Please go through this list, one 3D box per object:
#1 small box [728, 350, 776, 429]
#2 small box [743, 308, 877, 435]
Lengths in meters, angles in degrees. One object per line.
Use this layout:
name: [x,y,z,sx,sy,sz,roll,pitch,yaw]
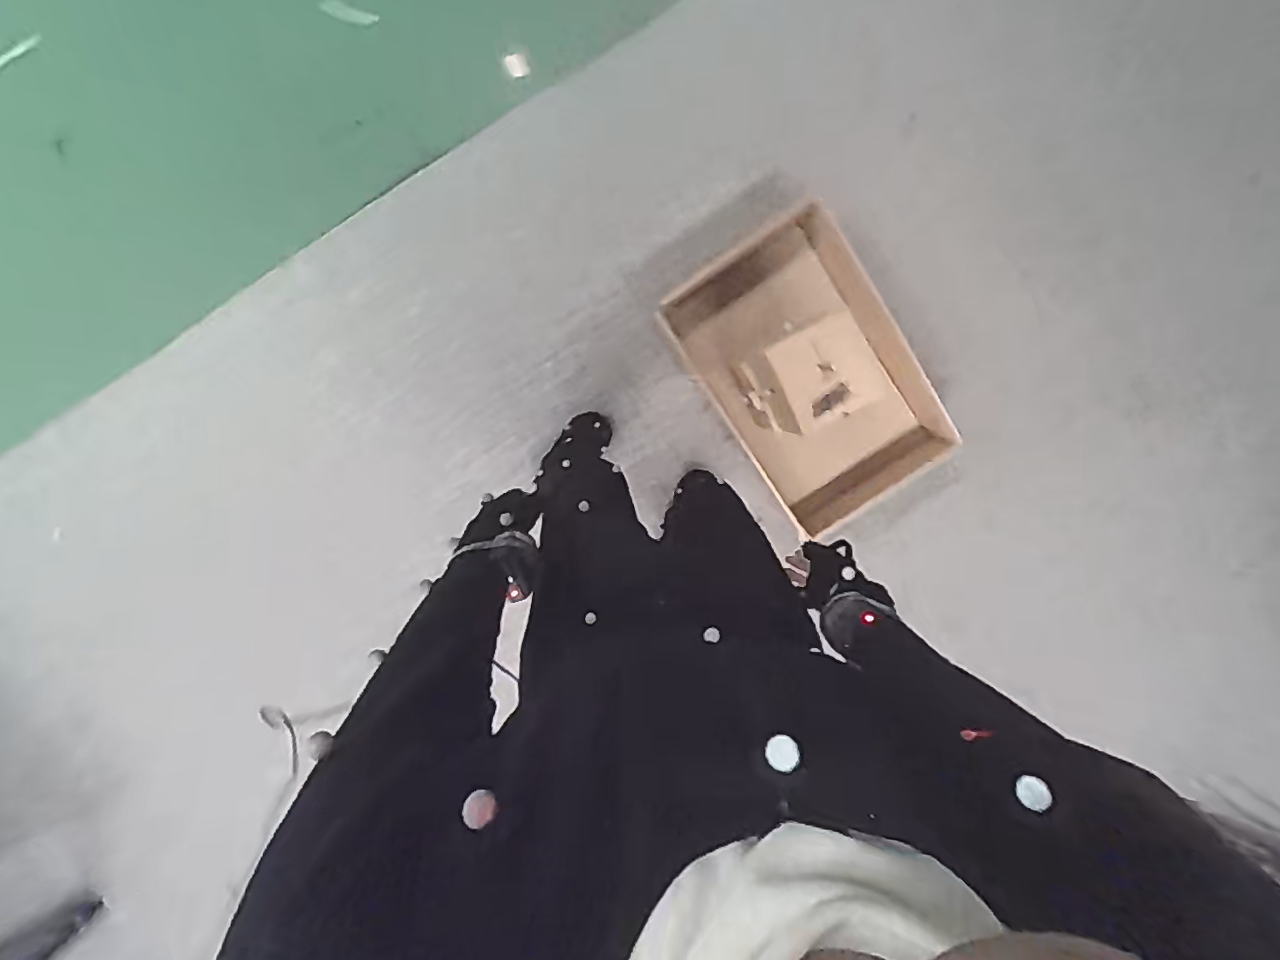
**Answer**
small box: [0.306,-0.227,1.193,0.179,0.176,0.168,-27,100,4]
small box: [0.314,-0.204,1.030,0.168,0.176,0.179,-25,99,3]
